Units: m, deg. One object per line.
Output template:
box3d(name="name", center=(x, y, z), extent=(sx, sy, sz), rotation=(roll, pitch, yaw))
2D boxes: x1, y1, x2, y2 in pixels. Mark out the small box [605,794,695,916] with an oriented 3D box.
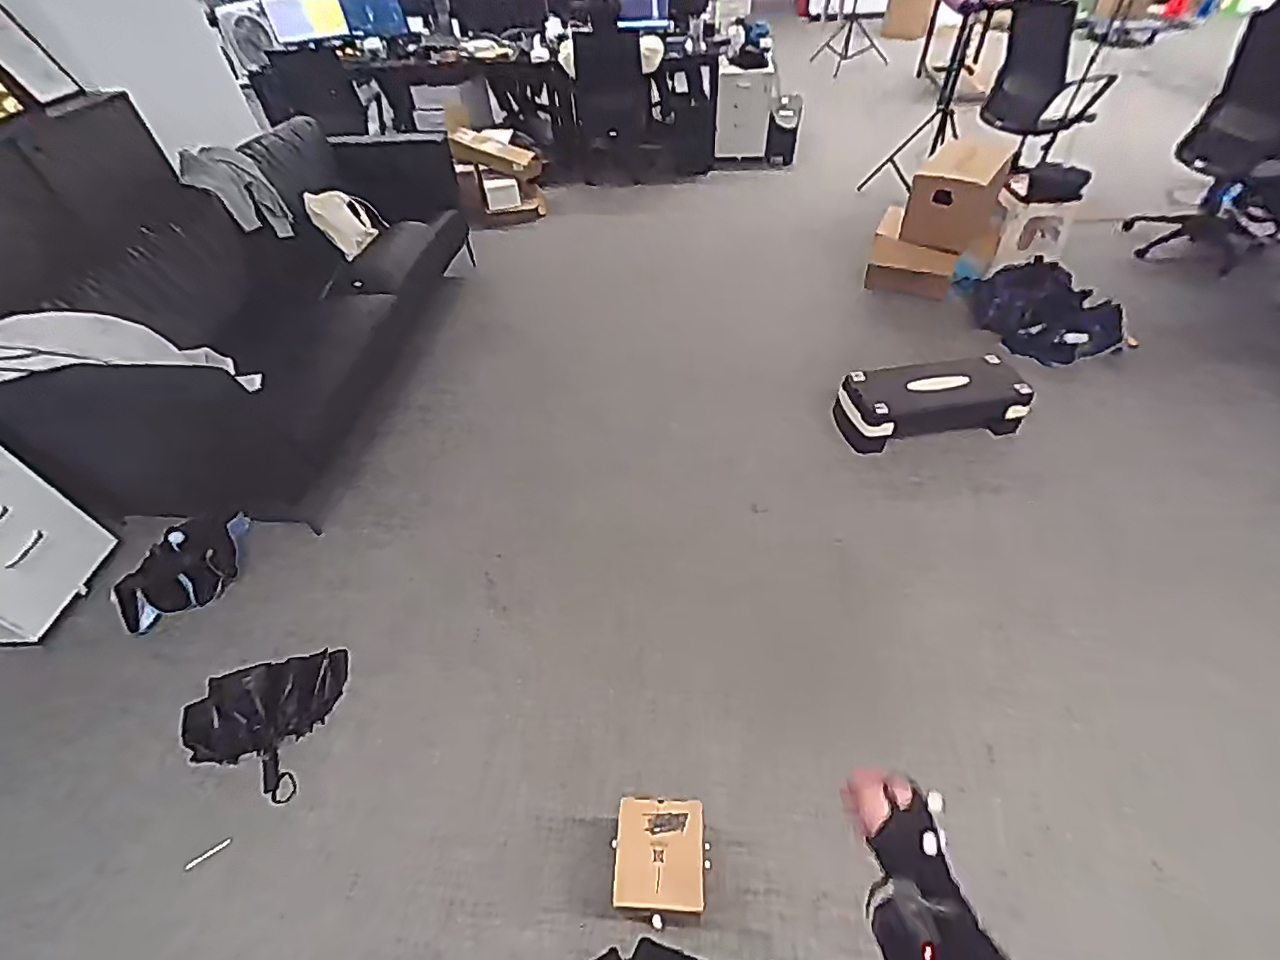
box3d(name="small box", center=(0.025, 0.754, 1.087), extent=(0.168, 0.176, 0.179), rotation=(0, 48, 5))
